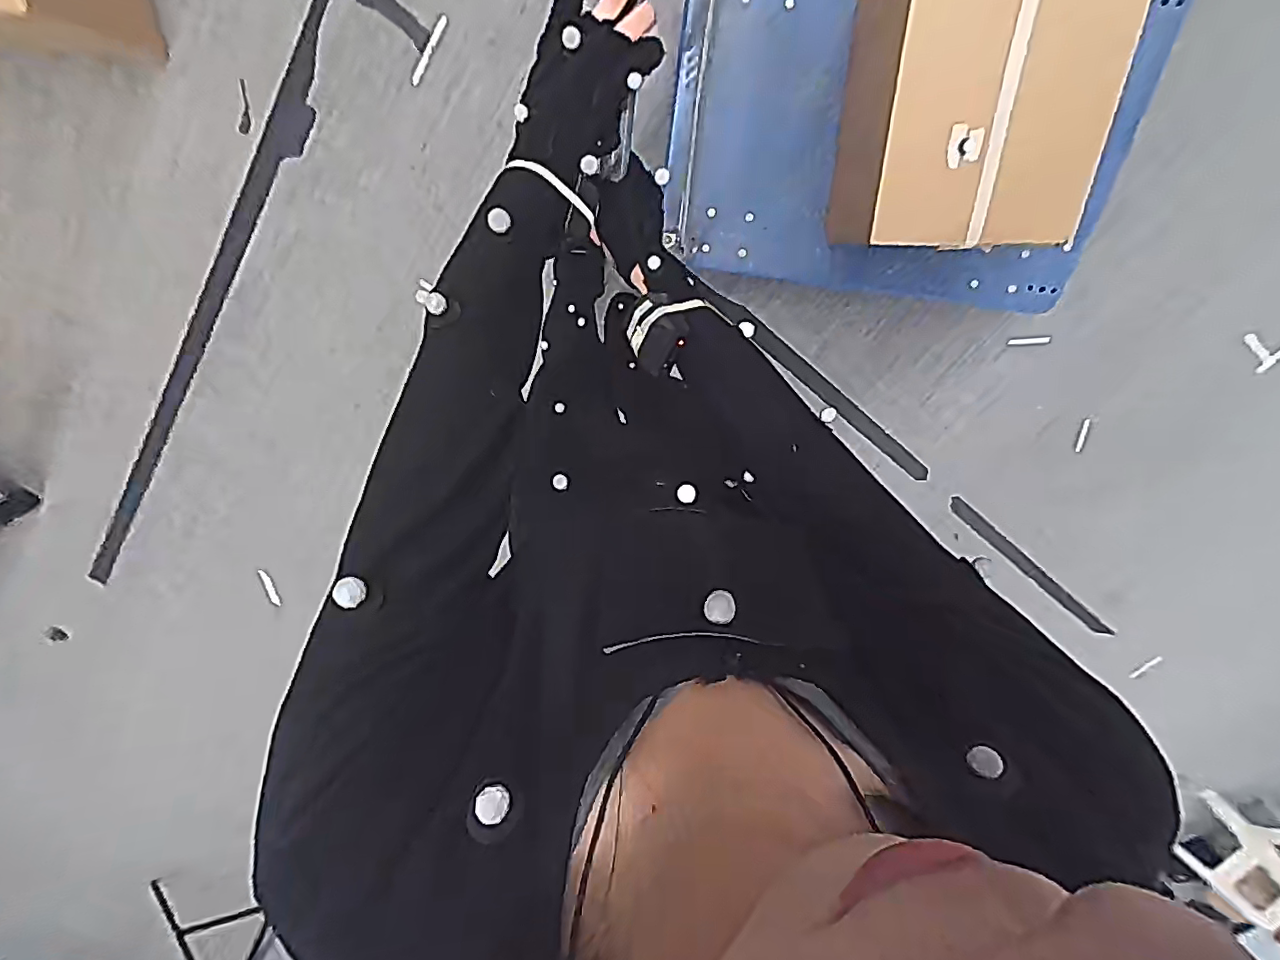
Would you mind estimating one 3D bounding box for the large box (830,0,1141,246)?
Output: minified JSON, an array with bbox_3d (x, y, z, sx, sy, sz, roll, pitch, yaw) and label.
[{"bbox_3d":[0.531,-0.625,0.908,0.320,0.320,0.408,1,117,5],"label":"large box"}]
